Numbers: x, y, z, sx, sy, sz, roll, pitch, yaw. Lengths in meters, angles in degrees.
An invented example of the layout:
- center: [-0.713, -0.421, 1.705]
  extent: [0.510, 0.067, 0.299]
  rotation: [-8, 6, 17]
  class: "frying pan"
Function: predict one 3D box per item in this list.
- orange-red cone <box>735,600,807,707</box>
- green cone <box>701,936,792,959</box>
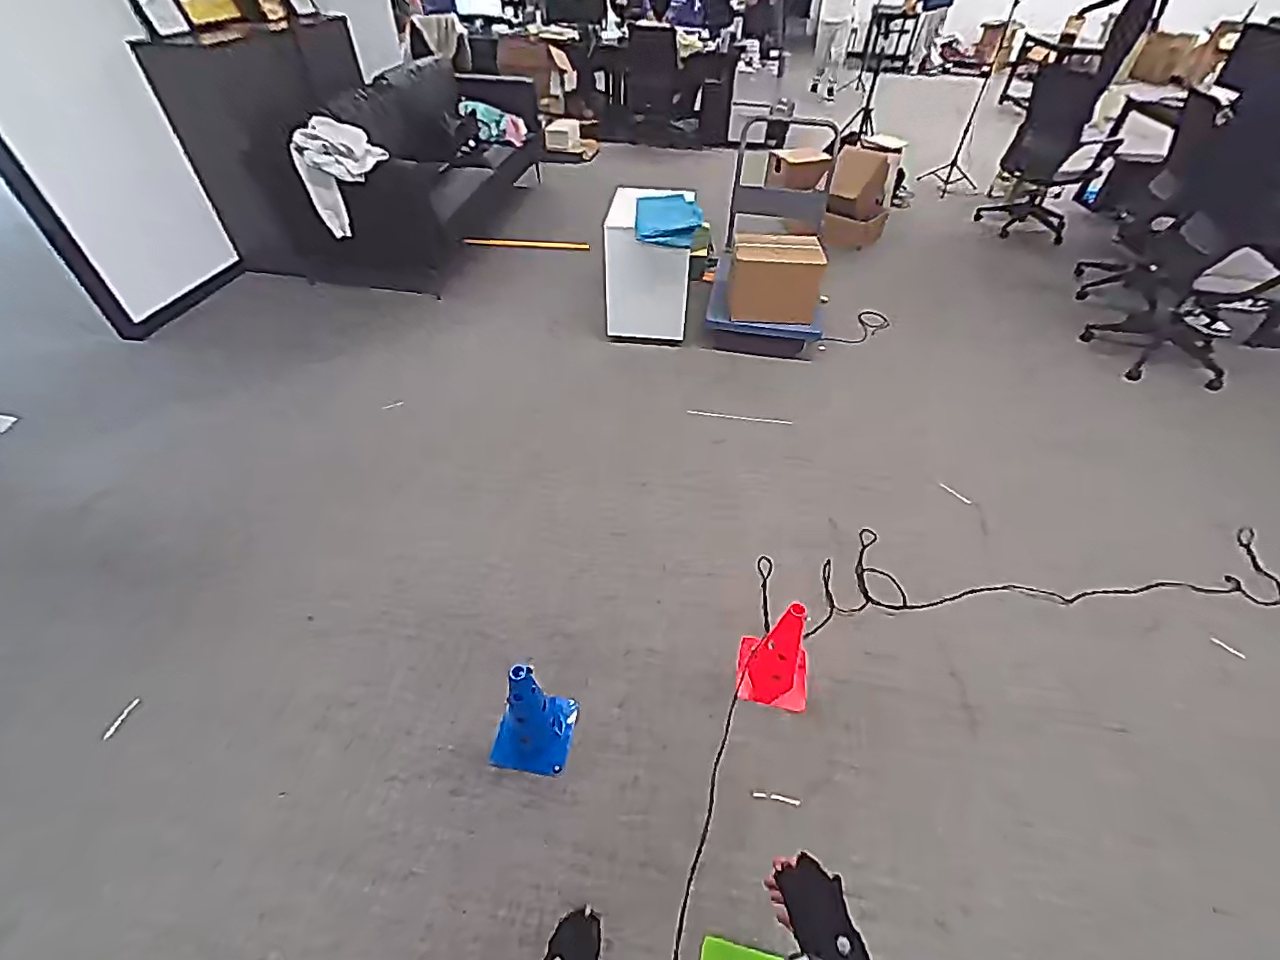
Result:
- center: [0.387, 0.436, 1.465]
  extent: [0.198, 0.360, 0.199]
  rotation: [10, 47, 10]
  class: "orange-red cone"
- center: [0.219, 0.938, 0.961]
  extent: [0.200, 0.368, 0.202]
  rotation: [10, 45, 7]
  class: "green cone"
